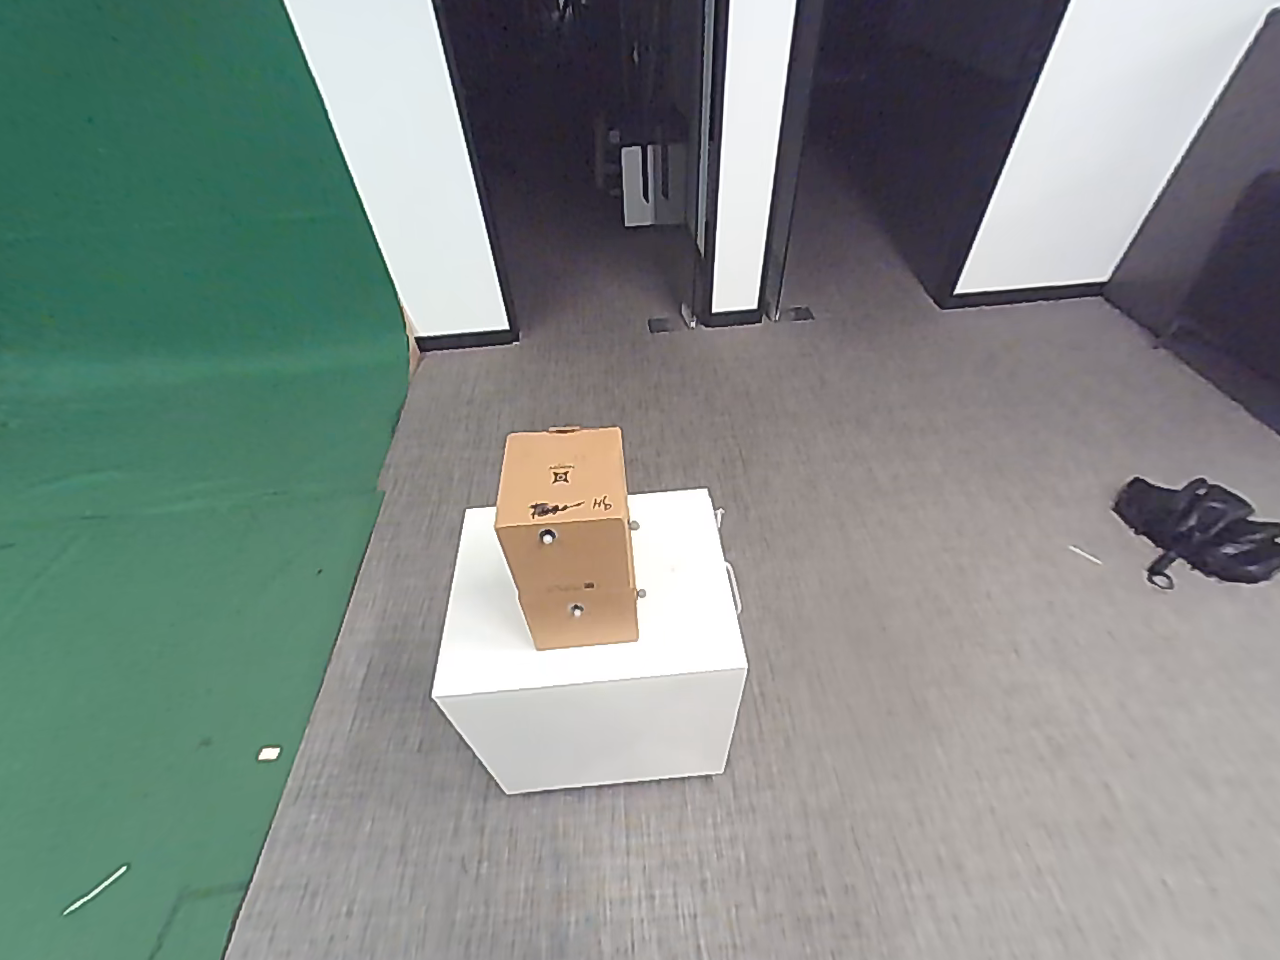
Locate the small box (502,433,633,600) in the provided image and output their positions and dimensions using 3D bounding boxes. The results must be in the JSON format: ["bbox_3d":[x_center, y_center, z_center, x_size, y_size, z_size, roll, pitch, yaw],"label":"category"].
[{"bbox_3d":[-0.100,0.053,0.797,0.168,0.176,0.179,-5,47,-3],"label":"small box"}]

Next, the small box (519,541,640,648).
[{"bbox_3d":[-0.096,0.168,0.910,0.179,0.176,0.168,-4,46,-2],"label":"small box"}]
